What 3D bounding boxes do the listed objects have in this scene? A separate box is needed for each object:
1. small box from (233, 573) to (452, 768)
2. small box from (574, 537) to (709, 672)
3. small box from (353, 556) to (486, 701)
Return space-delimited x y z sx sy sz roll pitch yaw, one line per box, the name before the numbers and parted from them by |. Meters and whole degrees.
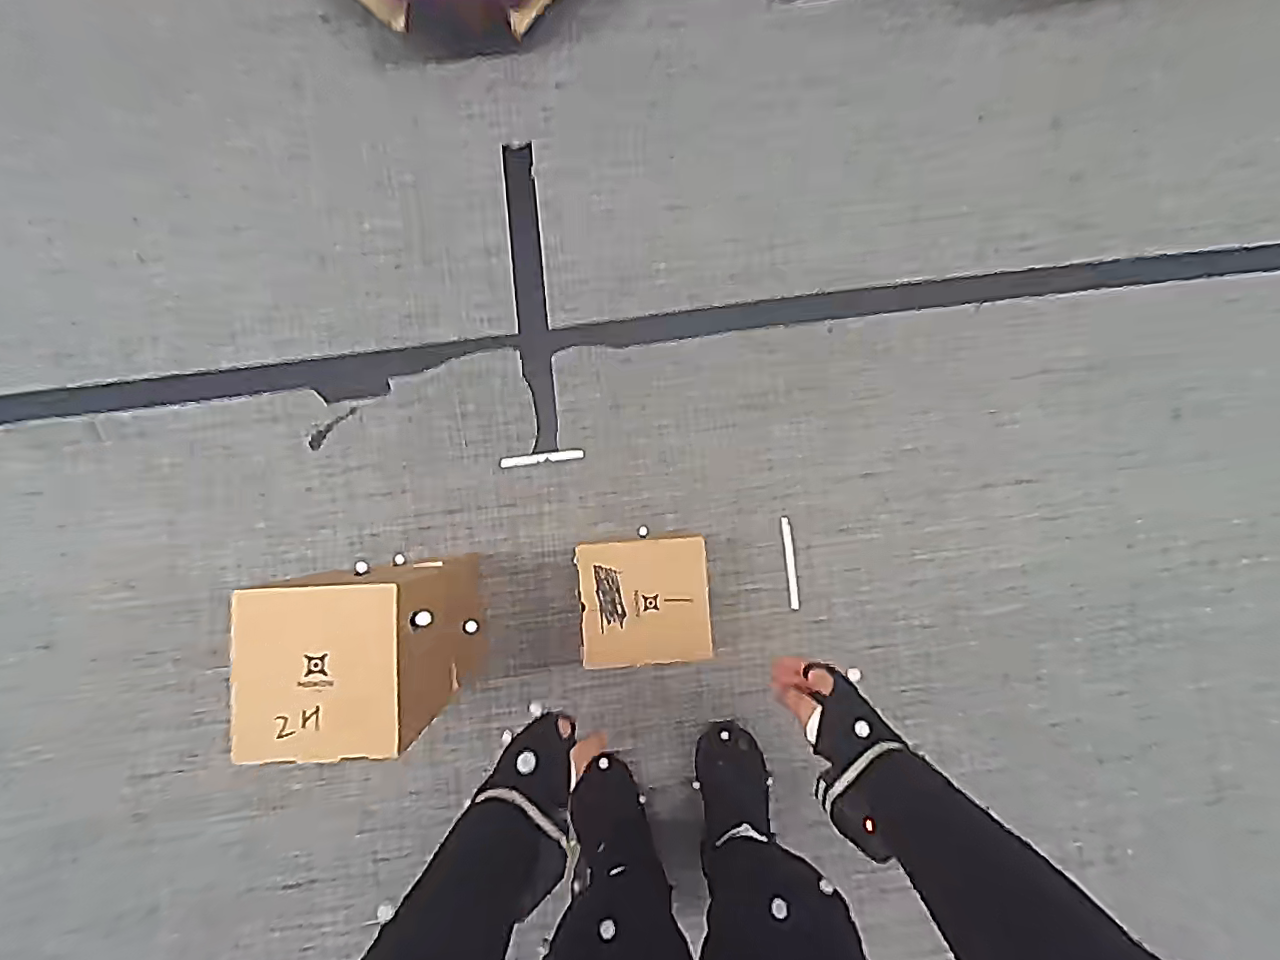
small box | -0.326 0.202 0.623 0.168 0.176 0.179 -2 87 -2
small box | 0.000 0.174 0.804 0.179 0.176 0.168 -4 88 -3
small box | -0.332 0.214 0.789 0.168 0.176 0.179 -7 88 -2
